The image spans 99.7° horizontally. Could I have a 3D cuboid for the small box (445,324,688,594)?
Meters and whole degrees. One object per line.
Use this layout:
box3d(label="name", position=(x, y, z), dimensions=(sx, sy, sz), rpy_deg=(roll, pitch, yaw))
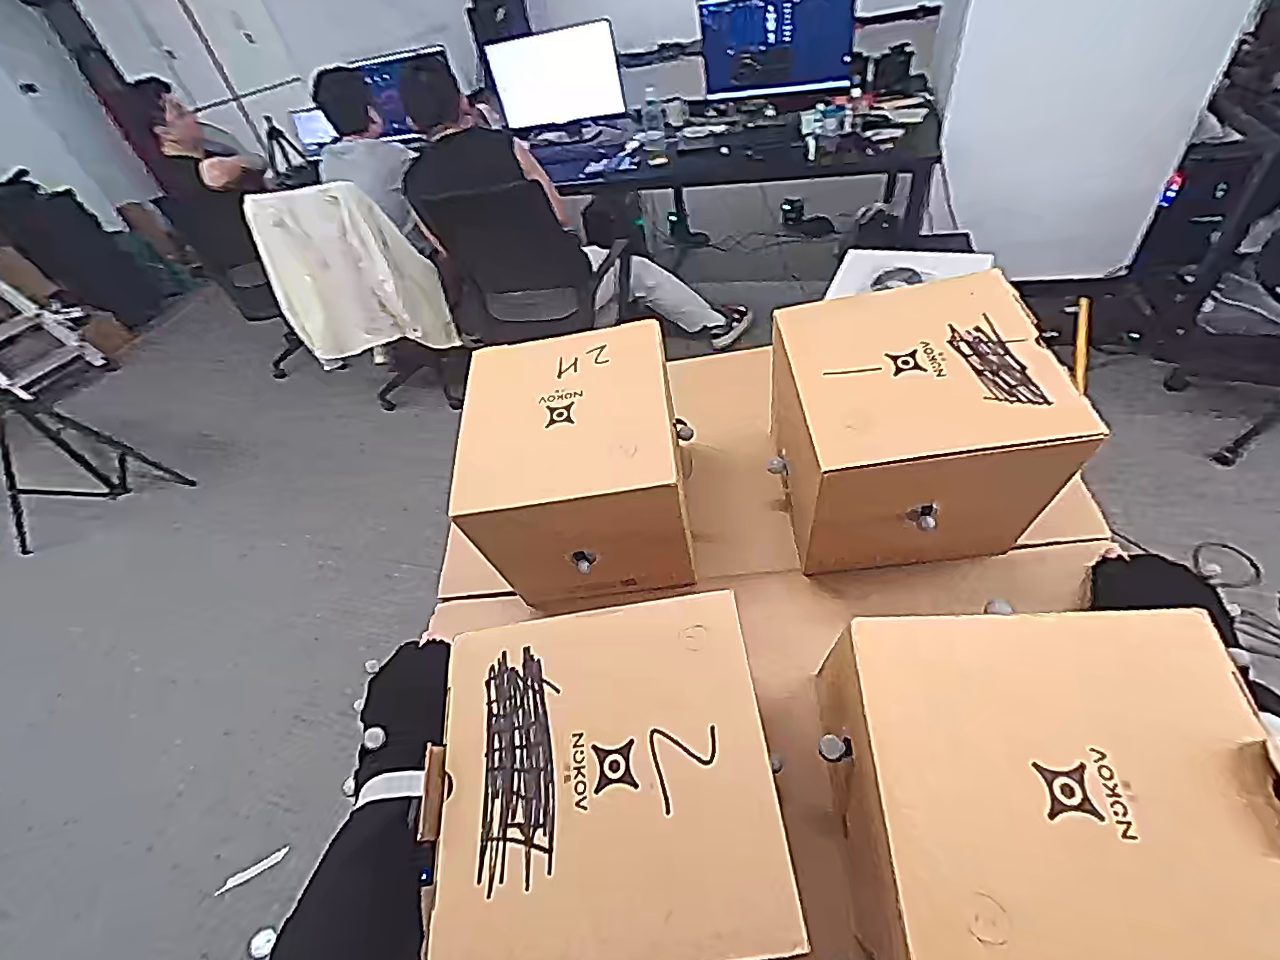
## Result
box3d(label="small box", position=(-0.051, -0.008, 0.488), dimensions=(0.168, 0.176, 0.179), rpy_deg=(-8, 55, 6))
